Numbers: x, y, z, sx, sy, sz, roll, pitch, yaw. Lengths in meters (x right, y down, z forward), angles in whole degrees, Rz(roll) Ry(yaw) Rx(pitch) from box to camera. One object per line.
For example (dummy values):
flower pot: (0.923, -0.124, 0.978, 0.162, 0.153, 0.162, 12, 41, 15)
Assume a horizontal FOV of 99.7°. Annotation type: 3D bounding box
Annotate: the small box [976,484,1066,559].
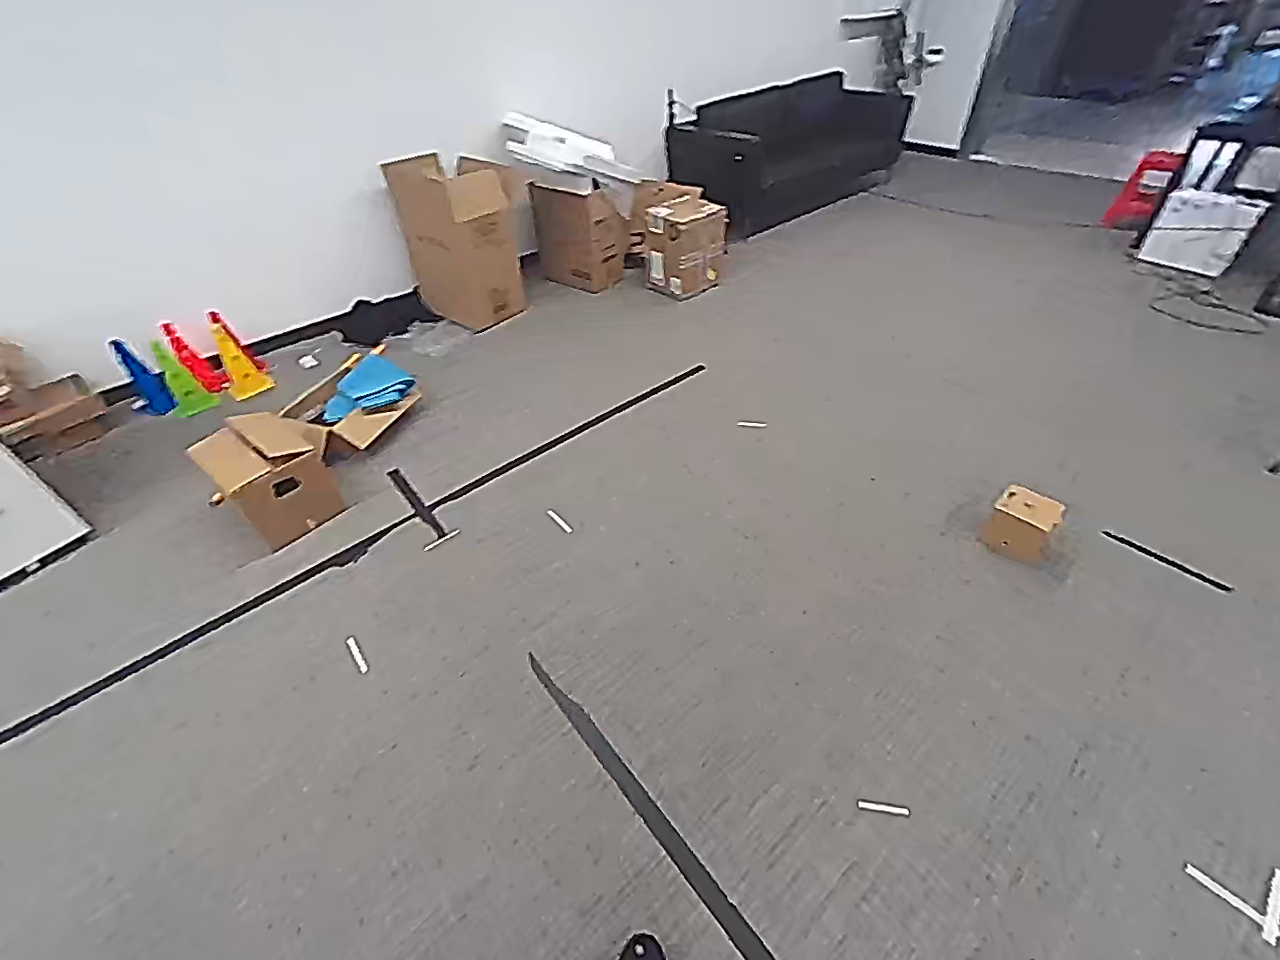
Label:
small box: (1.323, 0.152, 1.887, 0.168, 0.176, 0.179, -33, 50, -28)
